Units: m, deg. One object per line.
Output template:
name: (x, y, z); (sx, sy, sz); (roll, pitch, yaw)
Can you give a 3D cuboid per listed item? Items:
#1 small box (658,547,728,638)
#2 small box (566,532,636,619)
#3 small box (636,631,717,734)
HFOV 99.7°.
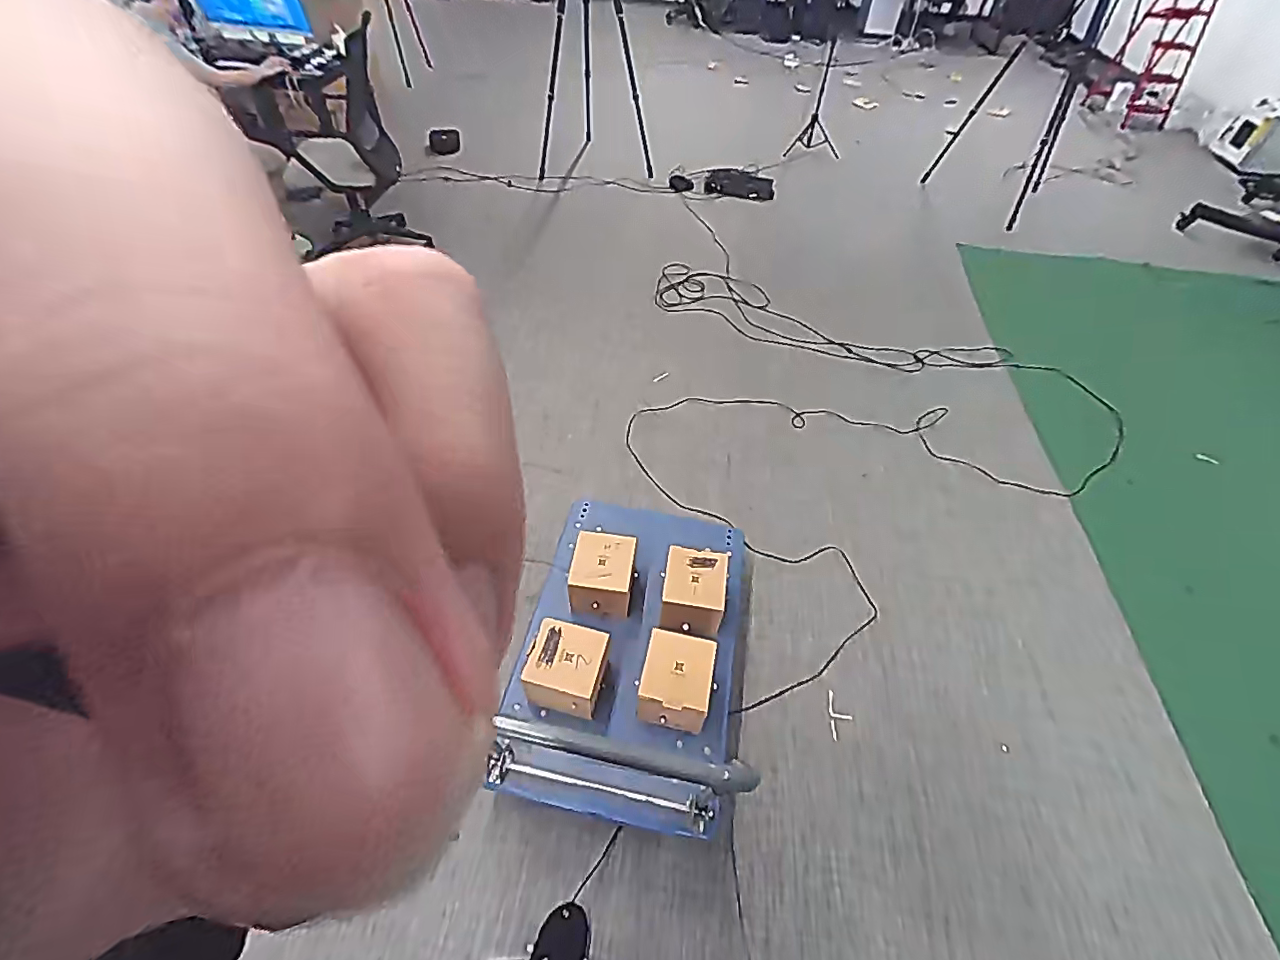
small box: (0.145, 0.316, 1.506); (0.168, 0.176, 0.179); (9, 52, 5)
small box: (-0.106, 0.274, 1.527); (0.168, 0.176, 0.179); (8, 51, 3)
small box: (0.087, 0.507, 1.349); (0.168, 0.176, 0.179); (11, 52, 6)
